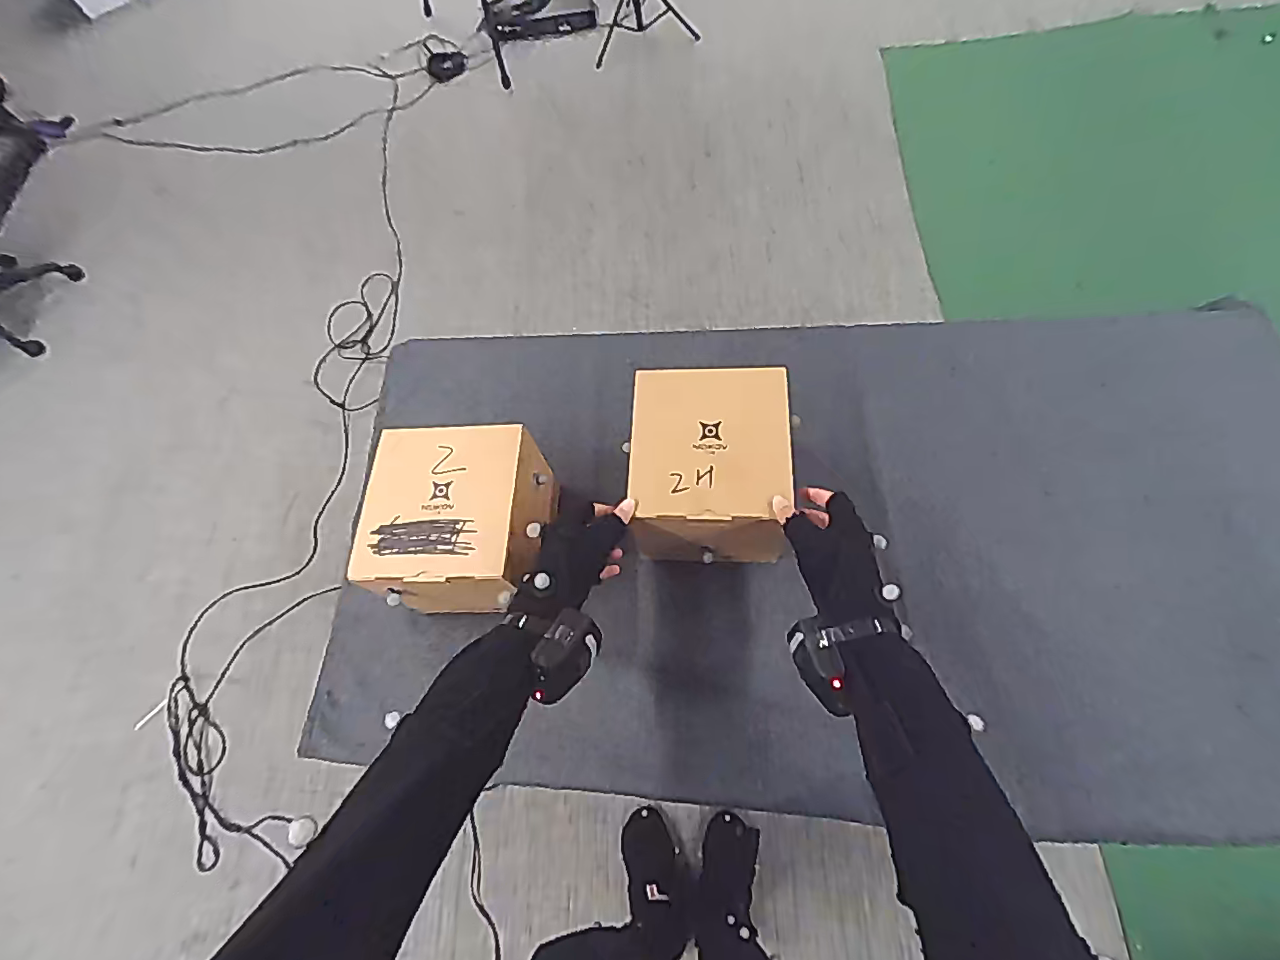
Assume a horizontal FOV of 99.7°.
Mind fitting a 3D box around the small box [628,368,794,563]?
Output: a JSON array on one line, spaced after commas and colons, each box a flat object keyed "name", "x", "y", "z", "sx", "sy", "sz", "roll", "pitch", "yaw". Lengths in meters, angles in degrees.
[{"name": "small box", "x": 0.083, "y": -0.012, "z": 0.635, "sx": 0.168, "sy": 0.176, "sz": 0.179, "roll": 1, "pitch": 67, "yaw": 8}]
